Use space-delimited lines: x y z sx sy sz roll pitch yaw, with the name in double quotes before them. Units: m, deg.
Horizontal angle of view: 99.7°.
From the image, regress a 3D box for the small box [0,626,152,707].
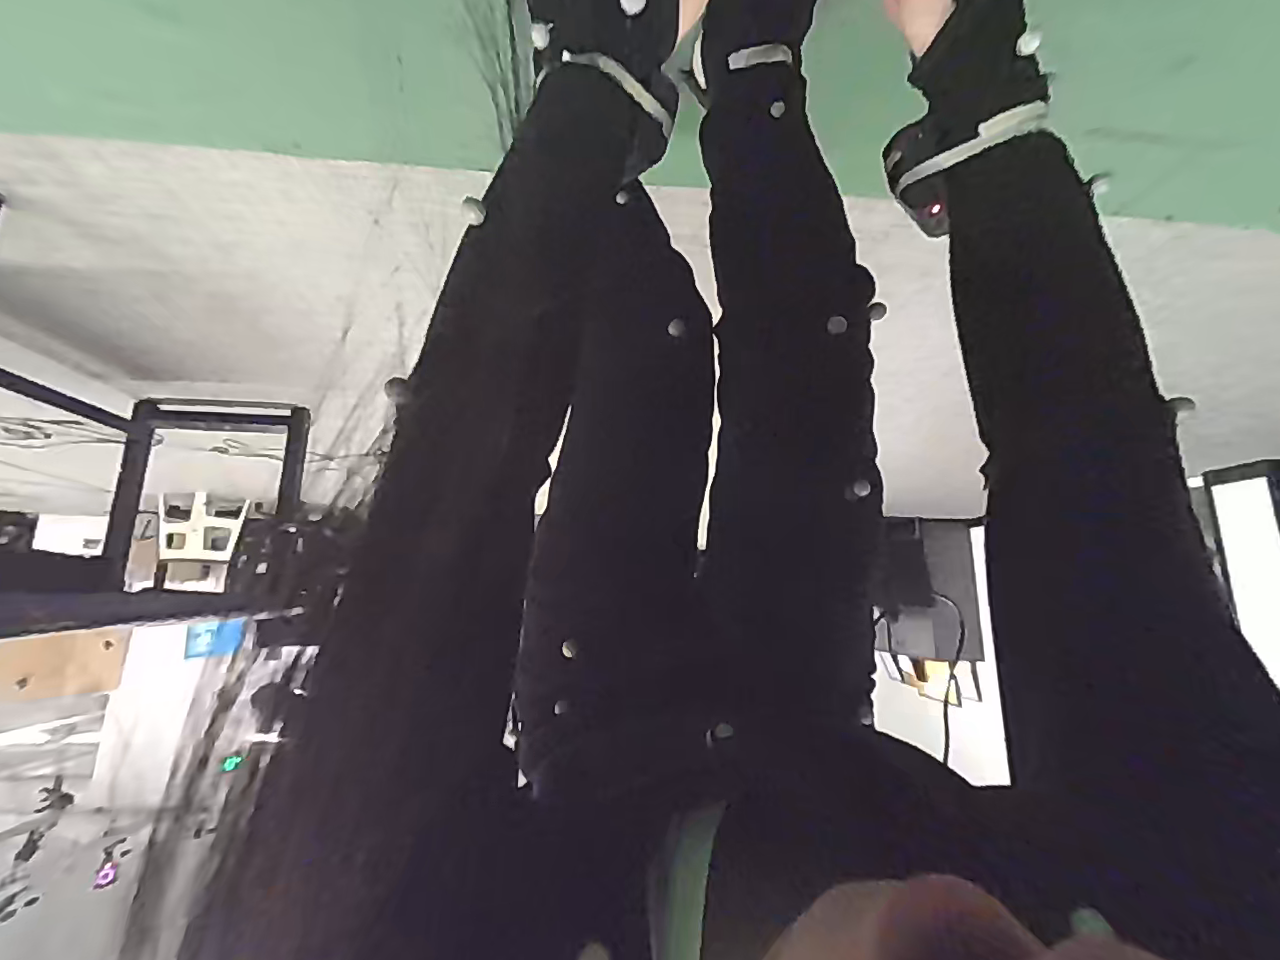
"small box" -1.324 0.435 1.284 0.179 0.176 0.168 2 167 -5
